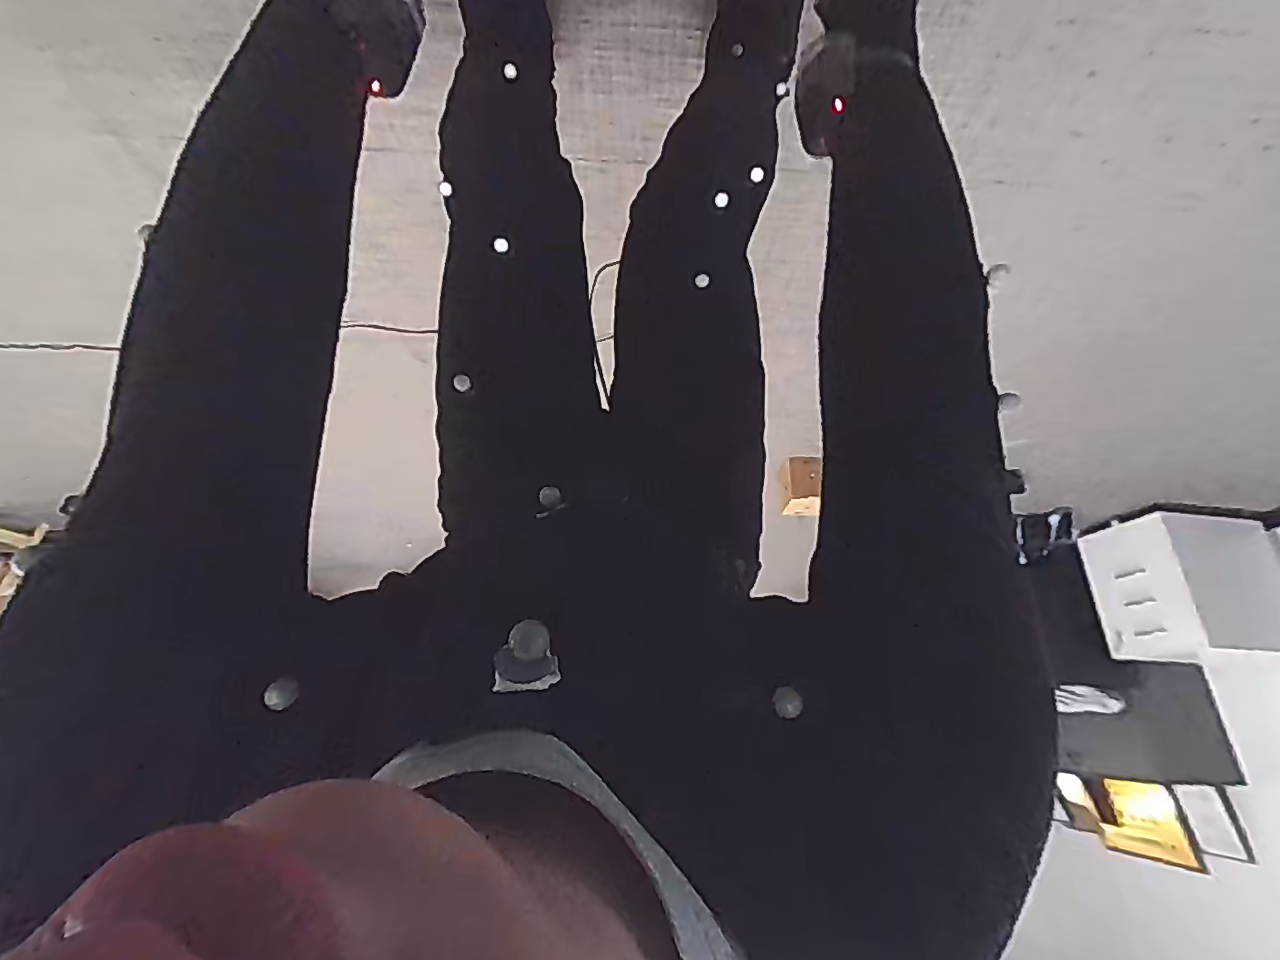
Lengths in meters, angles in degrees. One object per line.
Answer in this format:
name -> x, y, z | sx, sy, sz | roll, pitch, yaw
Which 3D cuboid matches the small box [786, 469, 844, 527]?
small box -> 0.656, 0.067, 2.047 | 0.168, 0.176, 0.179 | 2, 154, 3
